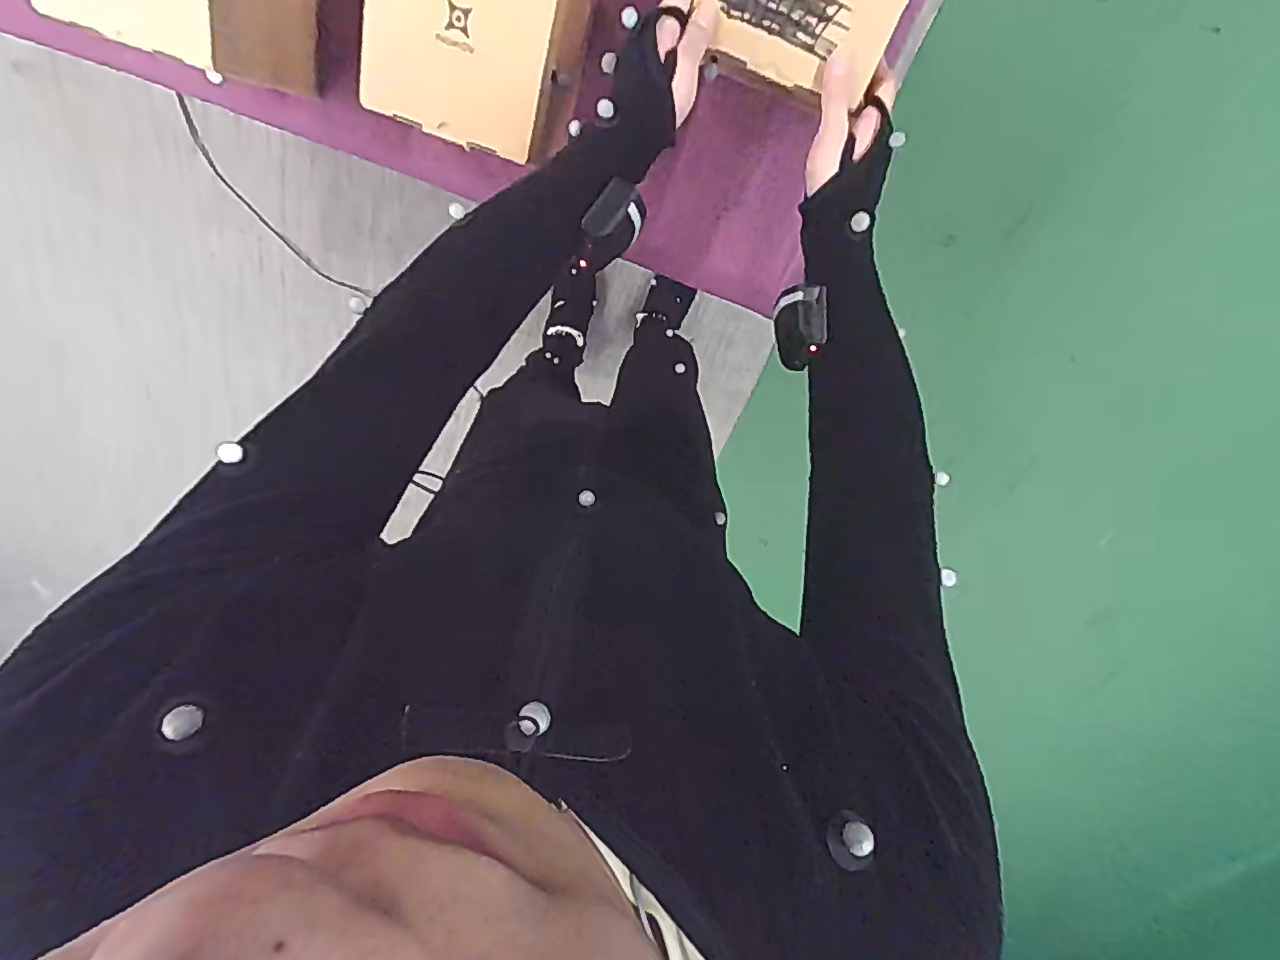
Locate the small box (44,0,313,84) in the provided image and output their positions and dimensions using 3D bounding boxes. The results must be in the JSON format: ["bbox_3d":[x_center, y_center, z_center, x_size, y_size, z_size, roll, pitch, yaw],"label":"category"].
[{"bbox_3d":[-0.441,-0.520,0.519,0.168,0.176,0.179,17,119,-5],"label":"small box"}]
